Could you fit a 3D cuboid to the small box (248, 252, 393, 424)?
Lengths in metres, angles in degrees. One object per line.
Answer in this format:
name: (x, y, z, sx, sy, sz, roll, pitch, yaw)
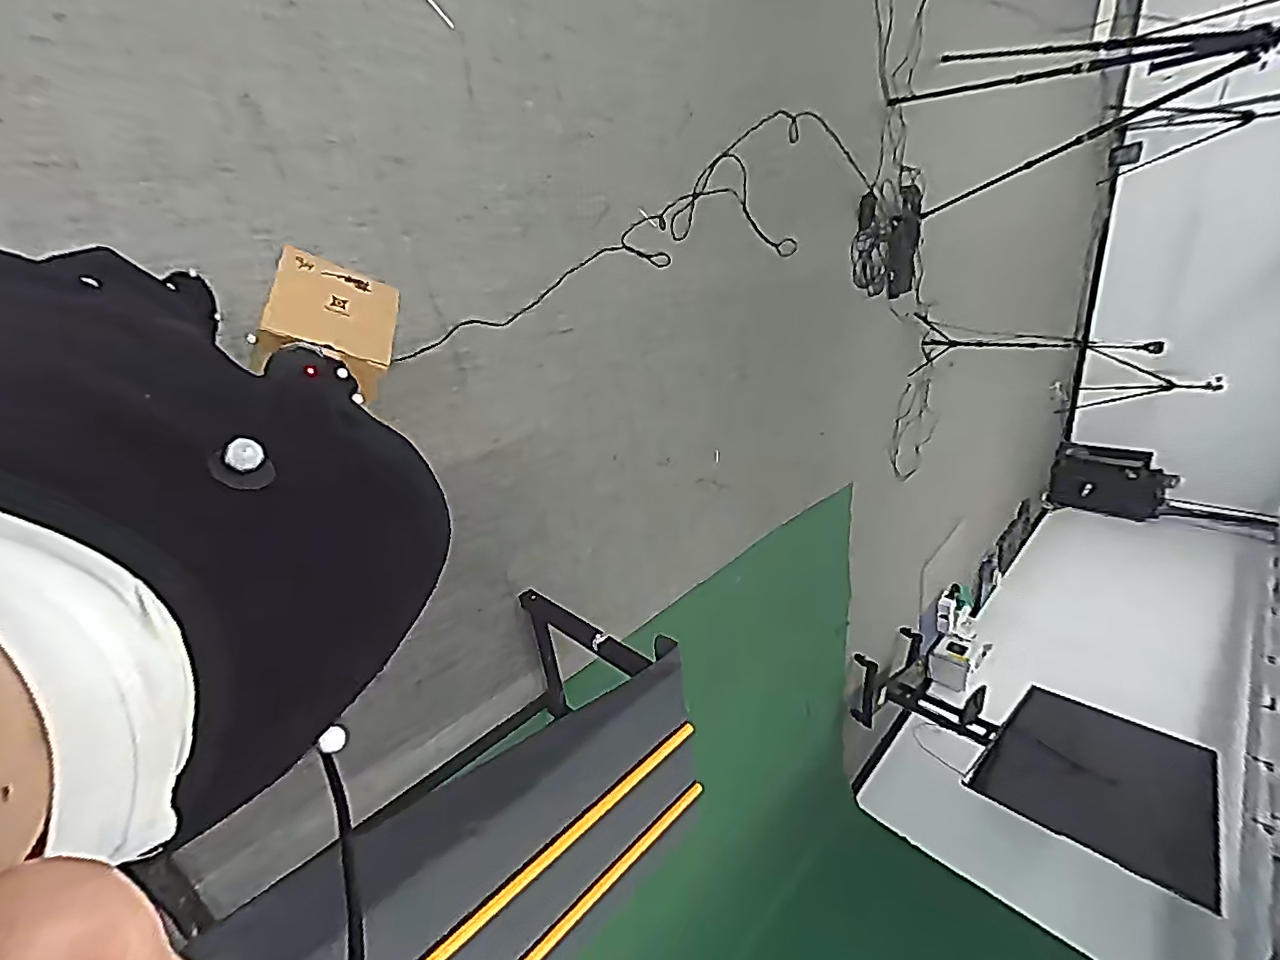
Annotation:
small box: (-0.509, -0.214, 0.864, 0.168, 0.176, 0.179, 13, 53, -35)
